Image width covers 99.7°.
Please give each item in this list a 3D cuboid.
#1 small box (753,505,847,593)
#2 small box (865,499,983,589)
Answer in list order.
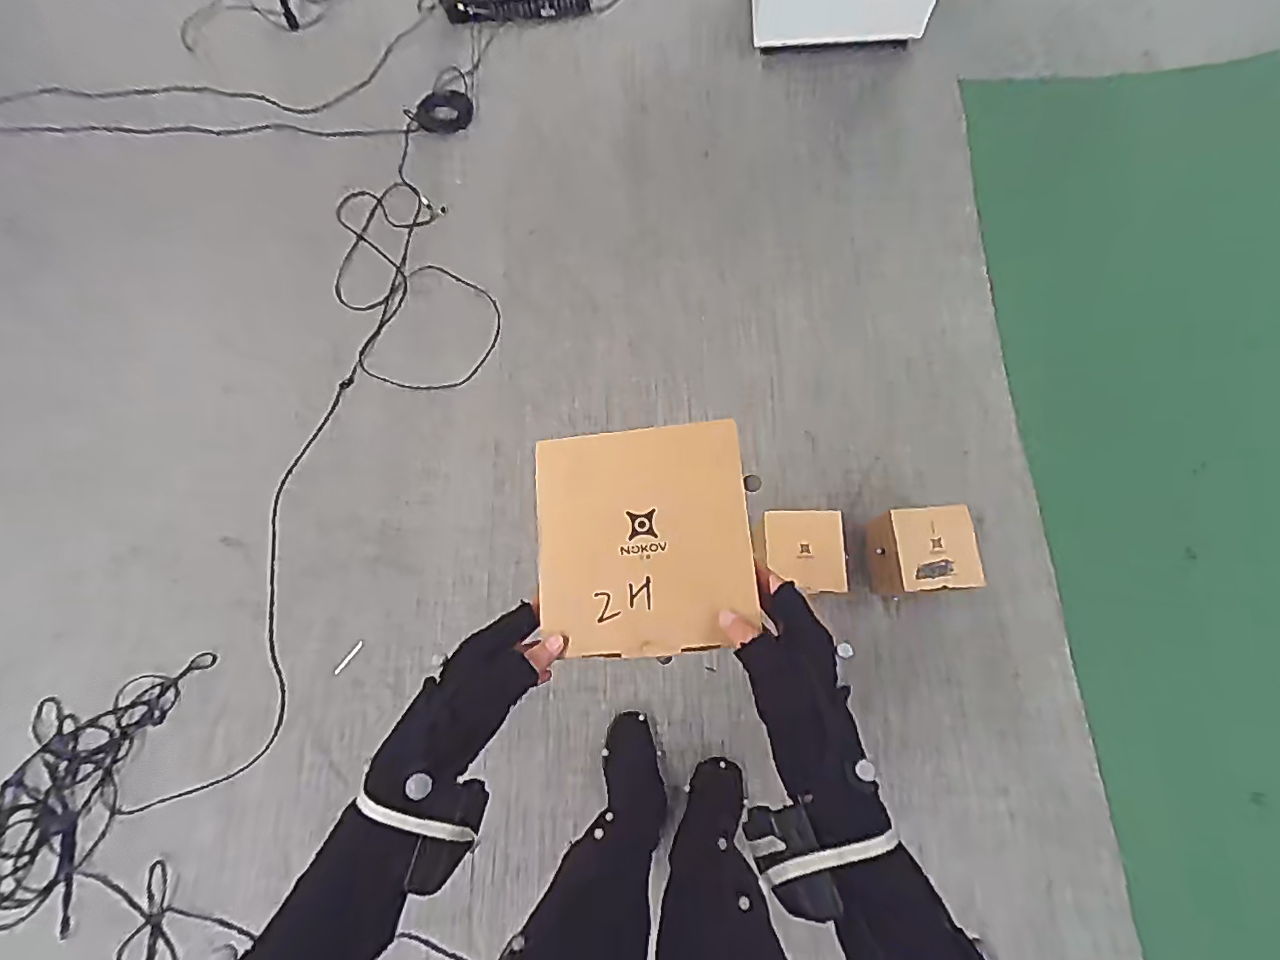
[{"bbox_3d":[0.351,0.159,1.218,0.168,0.176,0.179,-1,75,4],"label":"small box"},{"bbox_3d":[0.619,0.149,1.200,0.168,0.176,0.179,-4,74,3],"label":"small box"}]
